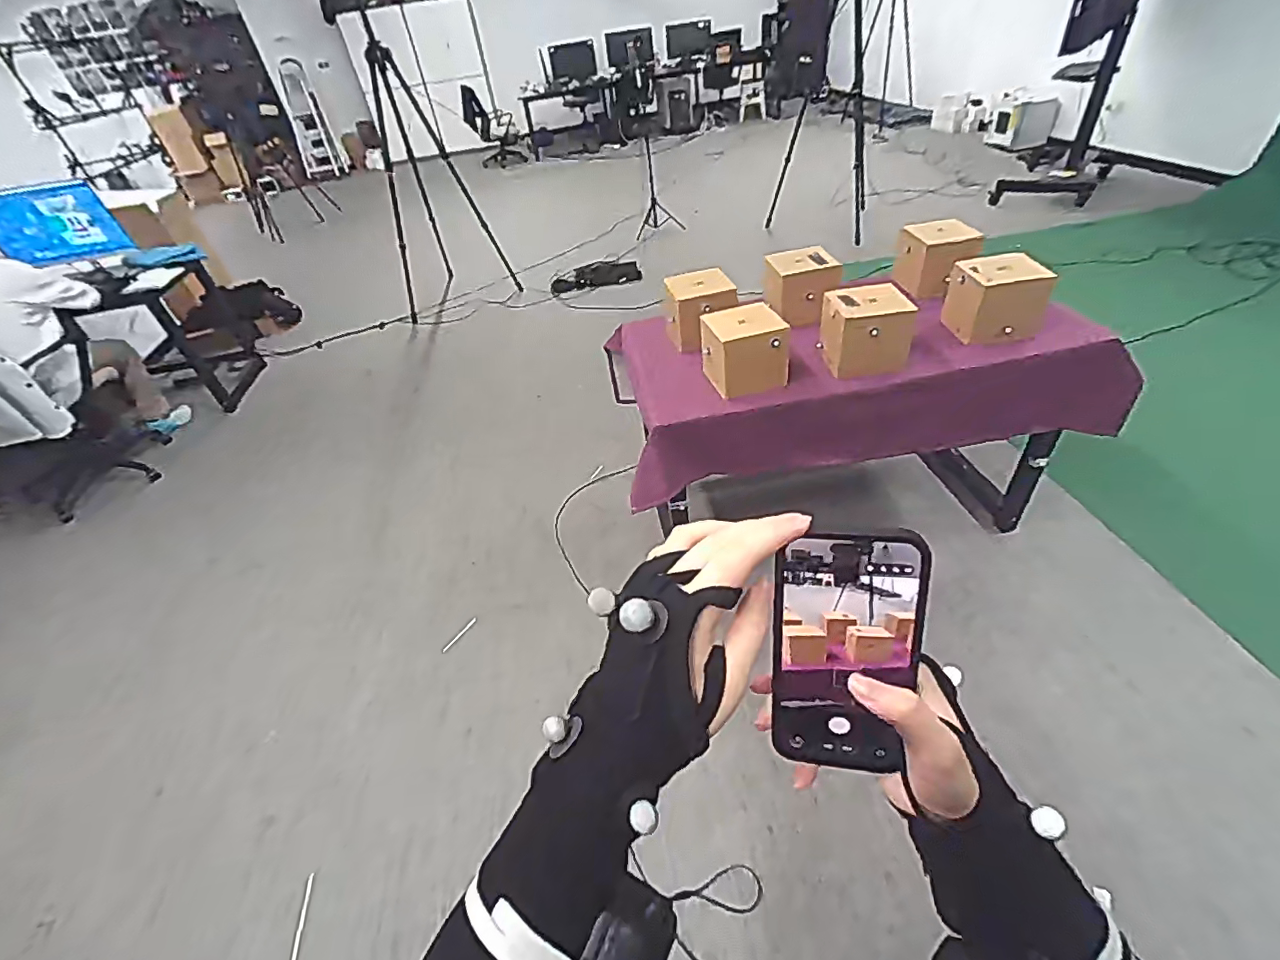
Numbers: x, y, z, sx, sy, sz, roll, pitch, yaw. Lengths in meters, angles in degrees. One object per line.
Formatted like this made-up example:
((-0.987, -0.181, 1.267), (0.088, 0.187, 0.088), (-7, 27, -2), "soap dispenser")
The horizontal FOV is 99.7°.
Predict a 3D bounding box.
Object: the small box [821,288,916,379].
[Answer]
((0.578, -0.376, 1.398), (0.179, 0.176, 0.168), (-6, 41, 2), "small box")

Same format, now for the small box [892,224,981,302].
((0.906, -0.671, 1.672), (0.168, 0.176, 0.179), (-9, 42, 1), "small box")

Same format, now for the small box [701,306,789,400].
((0.269, -0.326, 1.399), (0.179, 0.176, 0.168), (-14, 41, -7), "small box")

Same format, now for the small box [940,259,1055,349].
((0.936, -0.467, 1.435), (0.179, 0.176, 0.168), (-6, 41, 3), "small box")
